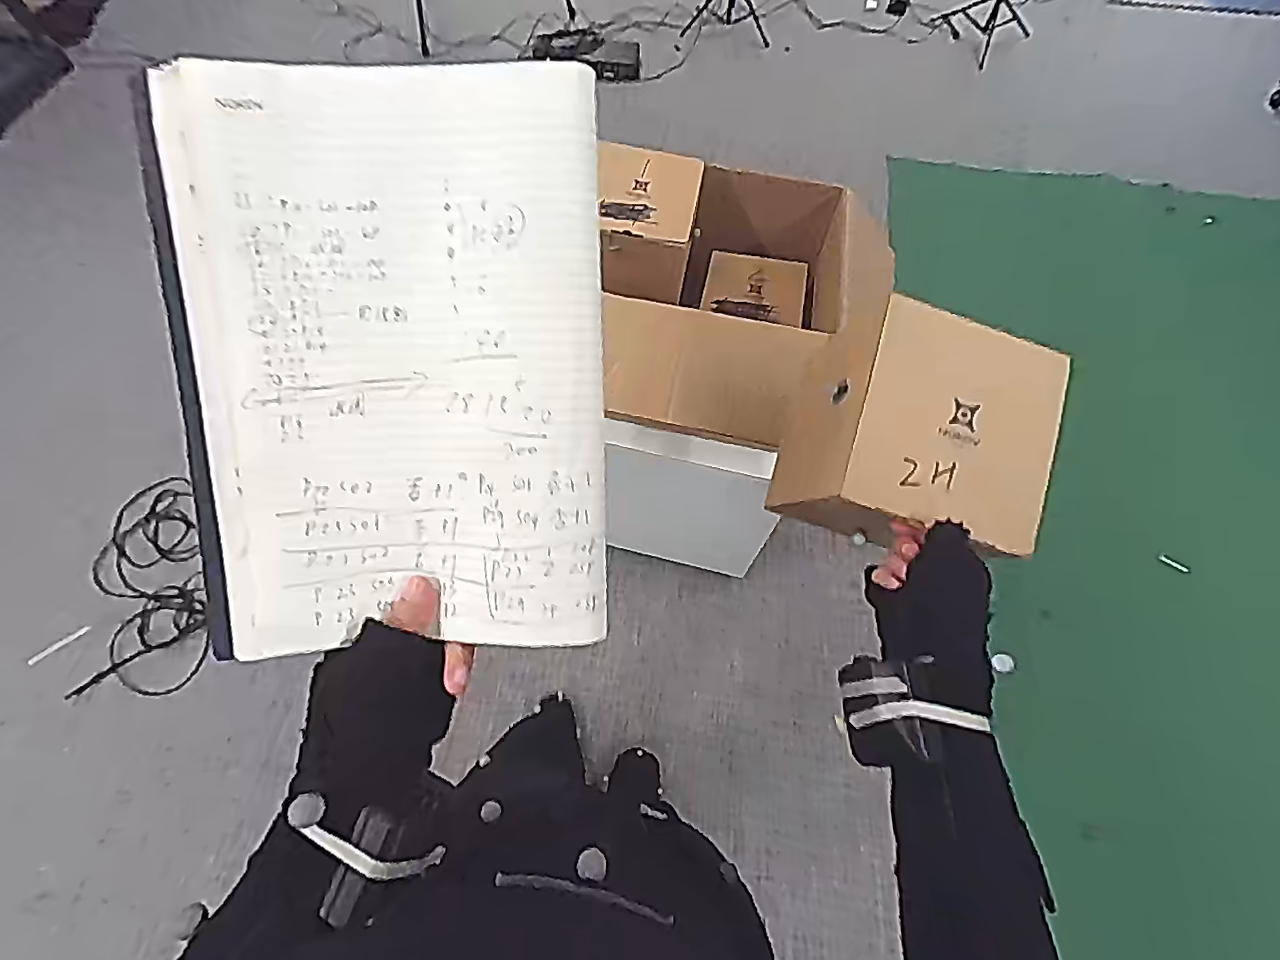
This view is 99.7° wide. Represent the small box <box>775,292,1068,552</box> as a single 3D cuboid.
[{"bbox_3d":[0.246,-0.038,0.509,0.168,0.176,0.179,17,82,-4],"label":"small box"}]
